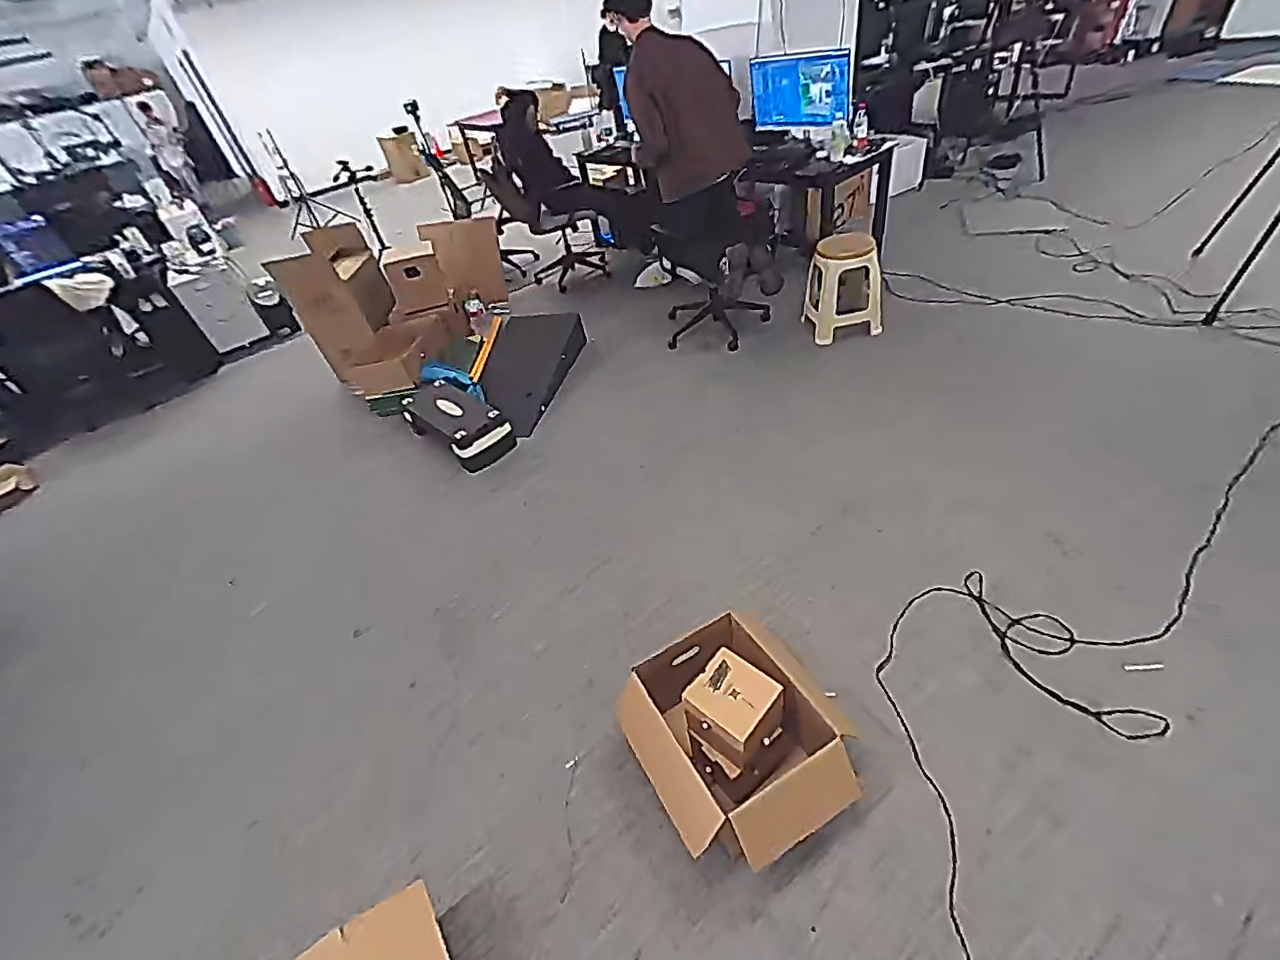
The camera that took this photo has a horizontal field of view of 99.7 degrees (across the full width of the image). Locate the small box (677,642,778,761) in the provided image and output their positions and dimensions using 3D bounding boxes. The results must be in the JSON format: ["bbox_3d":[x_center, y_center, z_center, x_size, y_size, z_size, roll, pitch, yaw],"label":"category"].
[{"bbox_3d":[0.215,0.535,1.305,0.168,0.176,0.179,-38,47,-25],"label":"small box"}]
